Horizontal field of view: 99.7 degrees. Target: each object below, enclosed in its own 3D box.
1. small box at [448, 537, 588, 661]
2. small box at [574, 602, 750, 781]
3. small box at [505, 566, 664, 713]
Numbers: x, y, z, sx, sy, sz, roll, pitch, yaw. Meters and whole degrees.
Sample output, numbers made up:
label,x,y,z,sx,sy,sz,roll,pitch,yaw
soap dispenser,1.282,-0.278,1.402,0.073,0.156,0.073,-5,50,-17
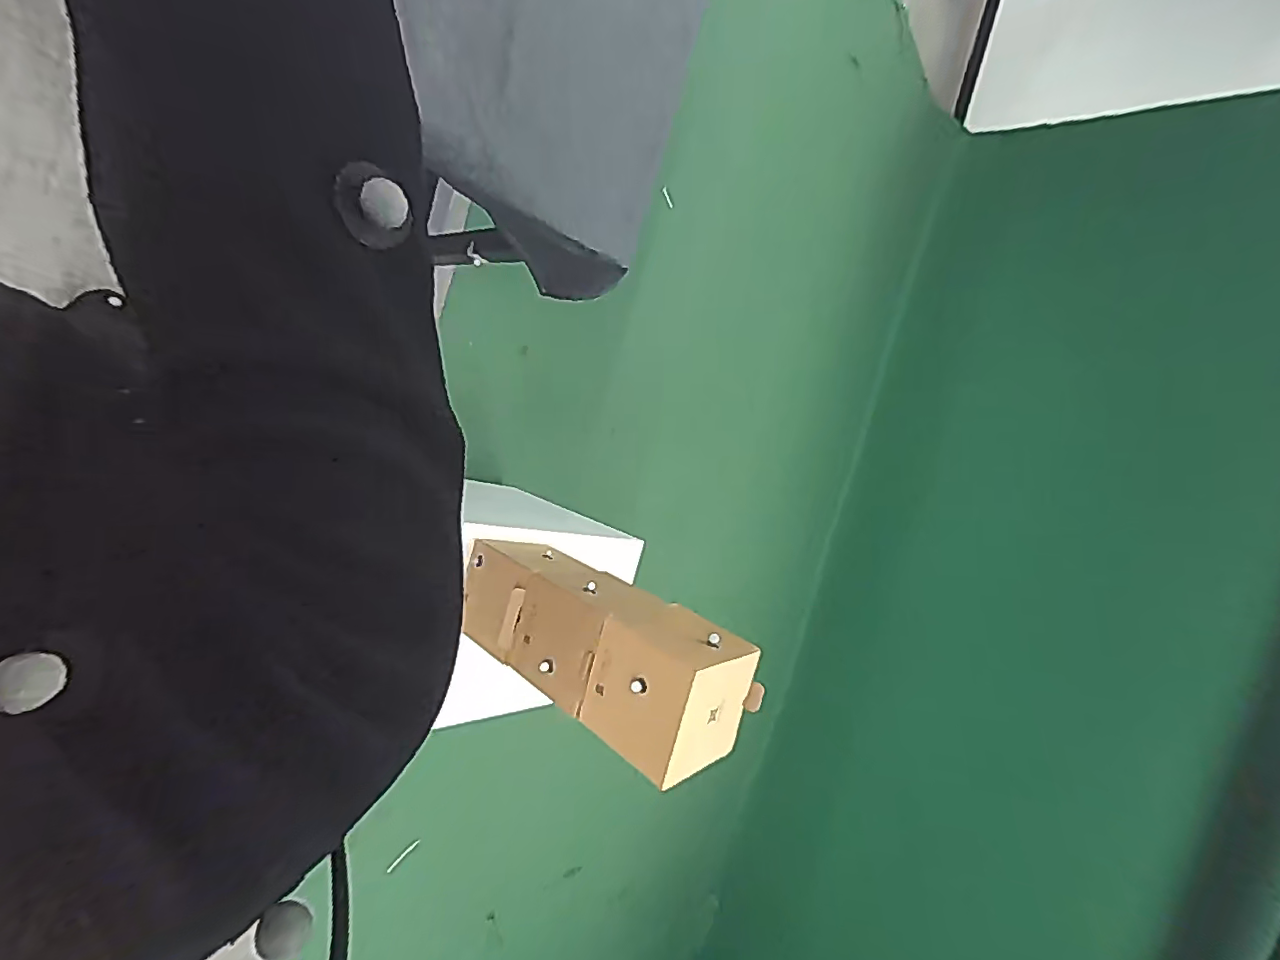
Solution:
label,x,y,z,sx,sy,sz,roll,pitch,yaw
small box,-0.219,0.208,0.983,0.179,0.176,0.168,14,94,-52
small box,0.029,0.291,0.790,0.179,0.176,0.168,8,99,-52
small box,-0.093,0.247,0.888,0.179,0.176,0.168,9,99,-52
